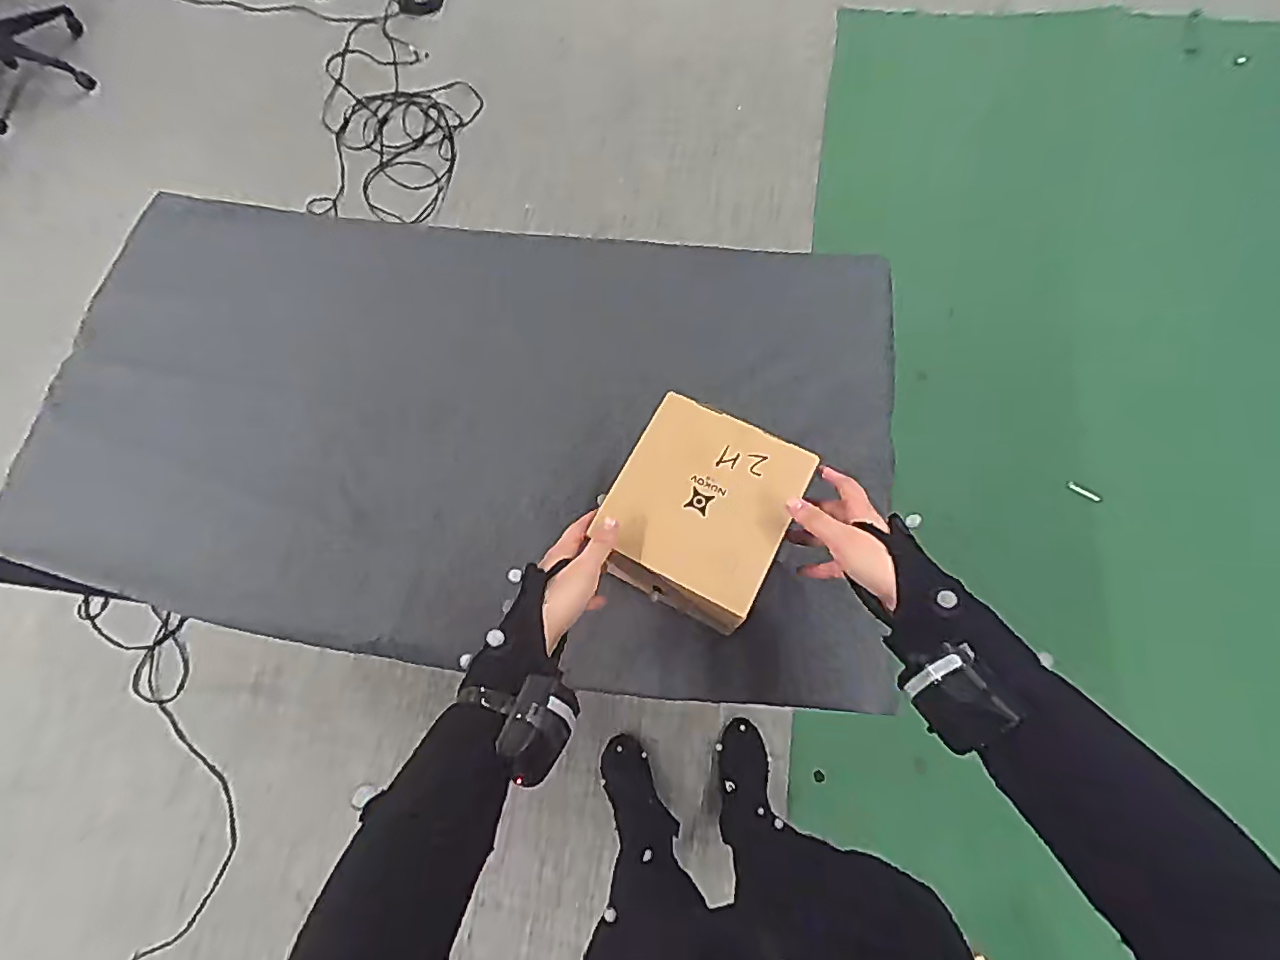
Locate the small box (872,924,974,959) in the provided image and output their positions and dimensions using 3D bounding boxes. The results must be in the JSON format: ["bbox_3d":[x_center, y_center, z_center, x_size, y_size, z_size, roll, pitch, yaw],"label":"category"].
[{"bbox_3d":[0.562,0.978,1.000,0.179,0.176,0.168,-24,71,-4],"label":"small box"}]

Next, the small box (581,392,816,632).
[{"bbox_3d":[0.061,0.046,0.577,0.168,0.176,0.179,27,73,12],"label":"small box"}]
